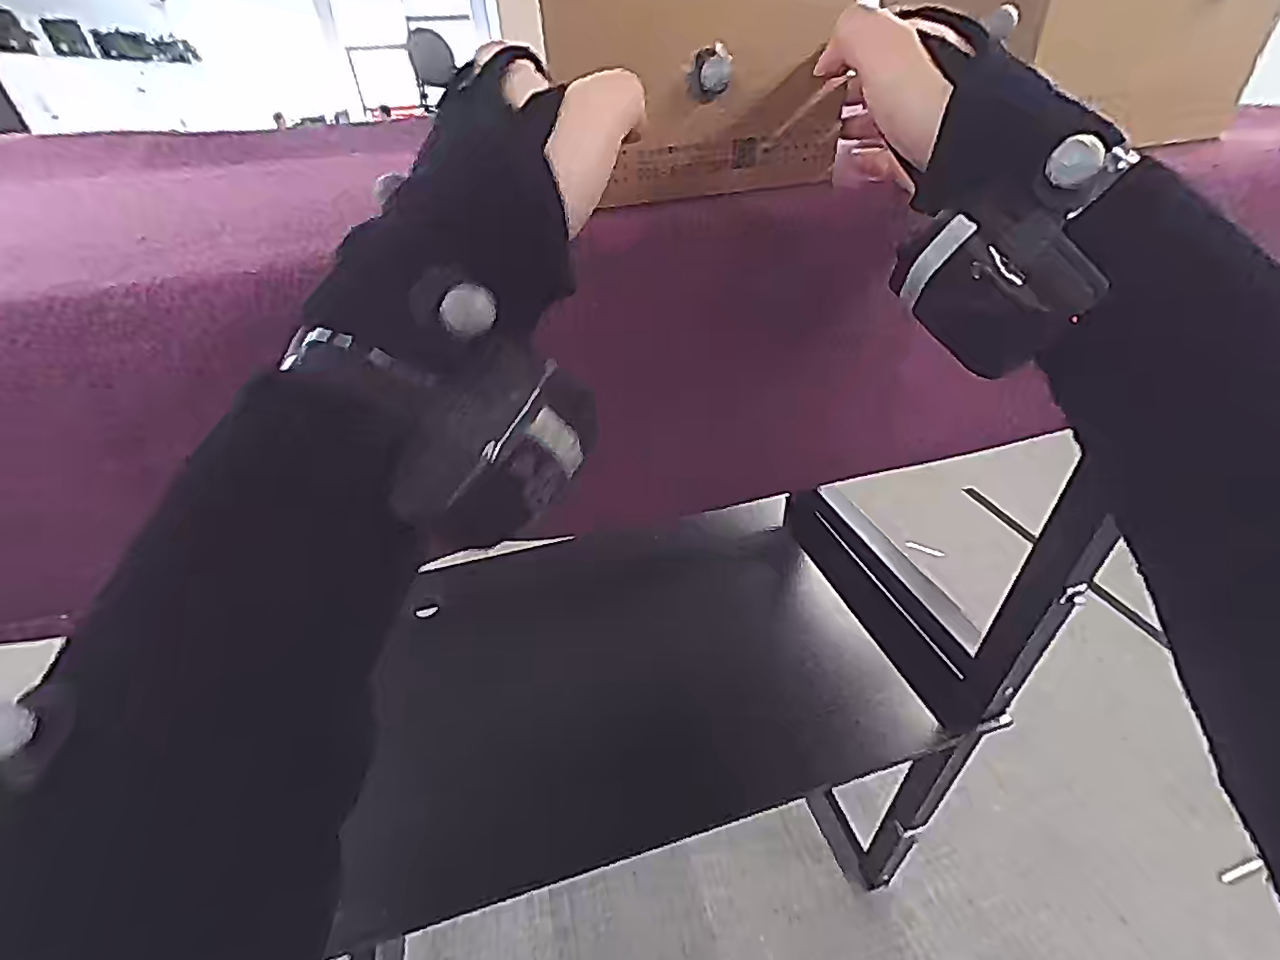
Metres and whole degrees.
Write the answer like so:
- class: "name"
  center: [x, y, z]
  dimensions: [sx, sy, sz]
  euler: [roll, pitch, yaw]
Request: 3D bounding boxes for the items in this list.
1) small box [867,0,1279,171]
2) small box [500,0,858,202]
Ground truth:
- class: "small box"
  center: [0.283, -0.319, 0.363]
  dimensions: [0.179, 0.176, 0.168]
  euler: [-12, 37, -9]
- class: "small box"
  center: [0.009, -0.271, 0.320]
  dimensions: [0.168, 0.176, 0.179]
  euler: [-13, 38, -12]
